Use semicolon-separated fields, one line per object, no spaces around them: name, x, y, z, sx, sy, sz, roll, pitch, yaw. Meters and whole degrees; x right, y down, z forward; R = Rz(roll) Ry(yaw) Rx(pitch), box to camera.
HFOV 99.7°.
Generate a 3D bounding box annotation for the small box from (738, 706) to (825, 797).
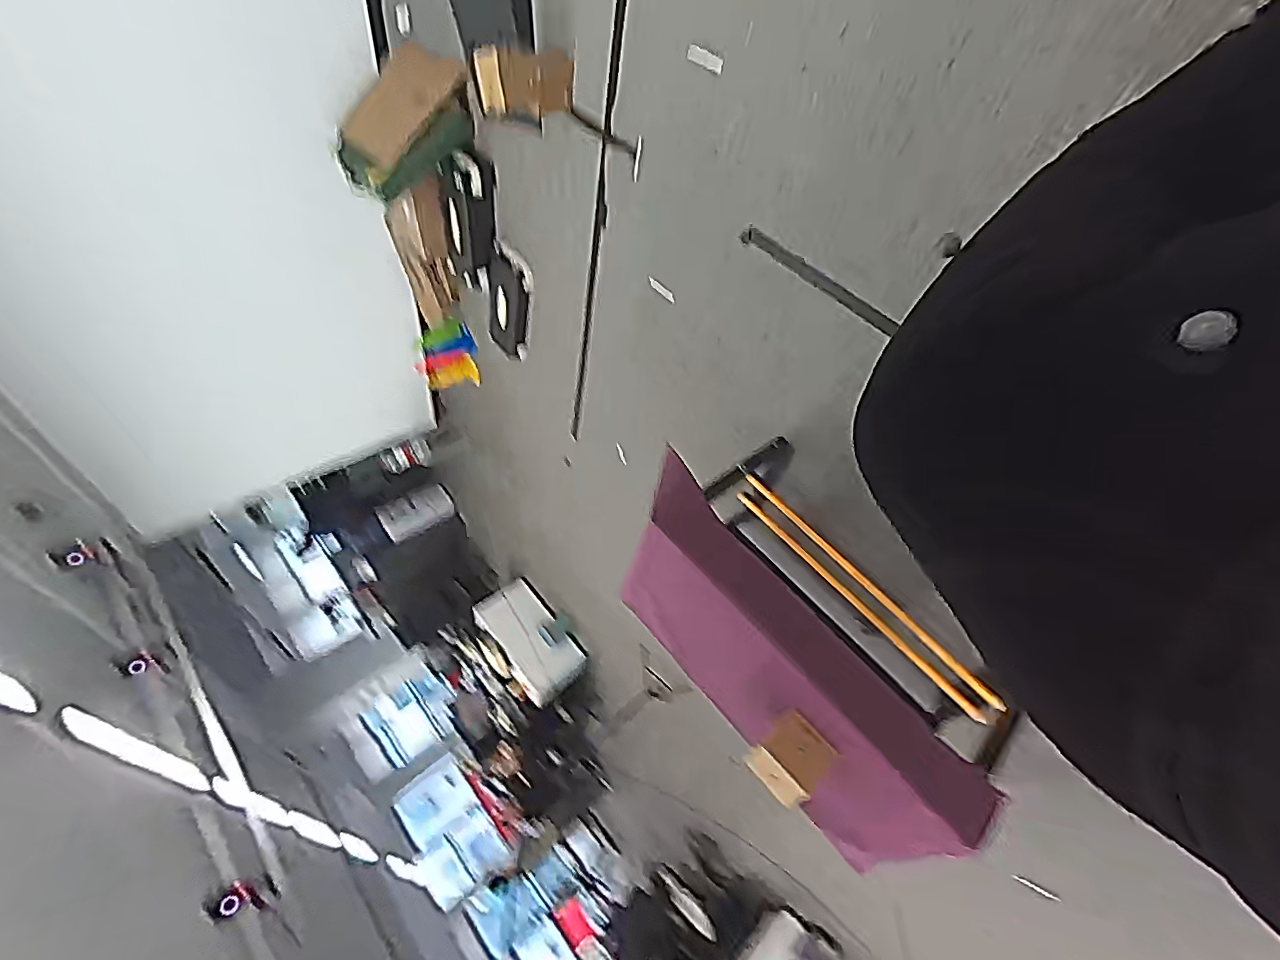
small box;0.434;0.823;1.646;0.168;0.176;0.179;45;146;22
